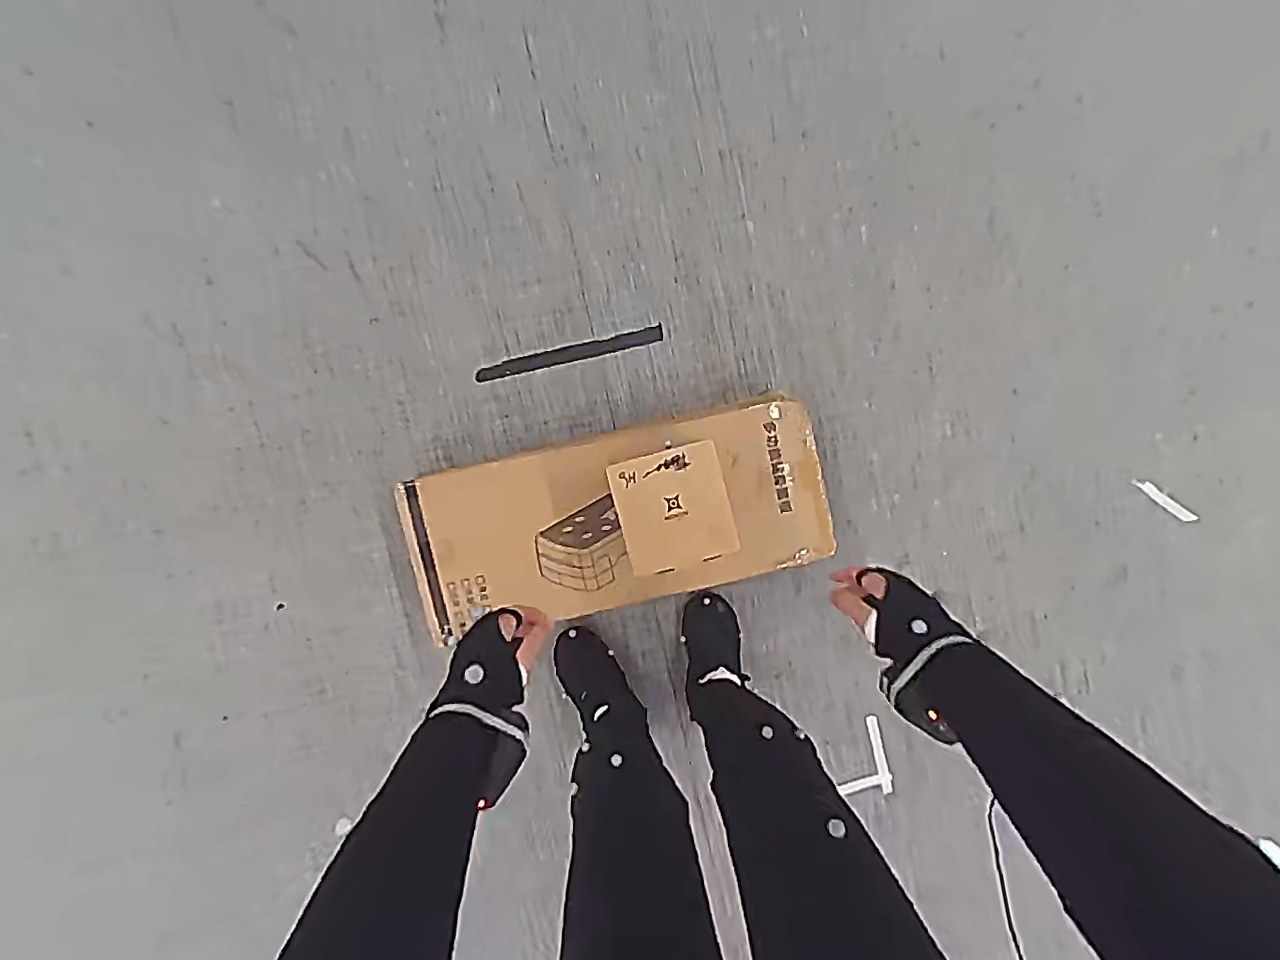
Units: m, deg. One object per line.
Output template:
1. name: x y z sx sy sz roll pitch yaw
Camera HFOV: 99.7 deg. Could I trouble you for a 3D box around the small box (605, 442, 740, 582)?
1. small box: 0.045 0.042 0.865 0.168 0.176 0.179 -15 95 -3
